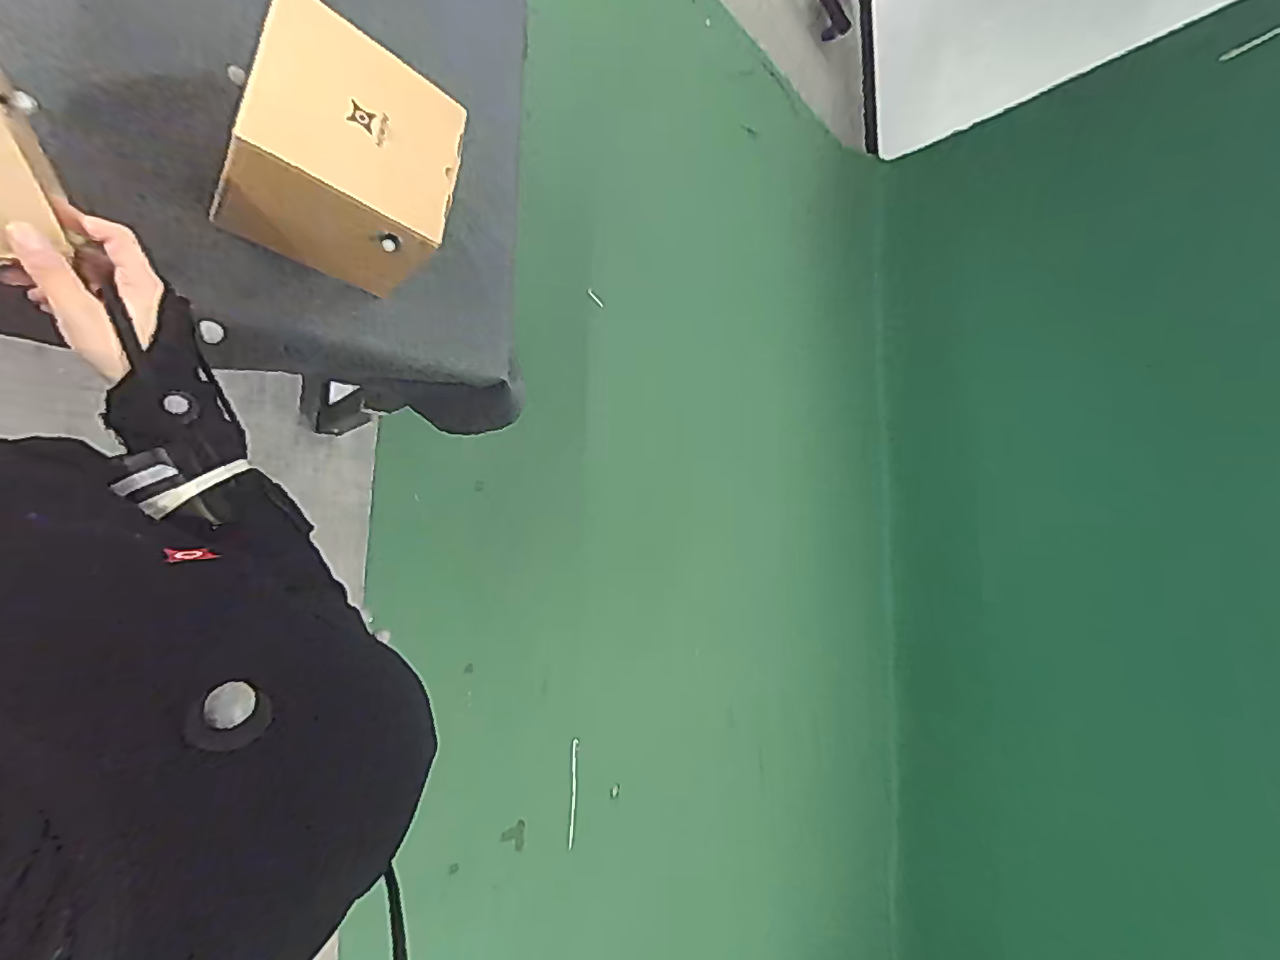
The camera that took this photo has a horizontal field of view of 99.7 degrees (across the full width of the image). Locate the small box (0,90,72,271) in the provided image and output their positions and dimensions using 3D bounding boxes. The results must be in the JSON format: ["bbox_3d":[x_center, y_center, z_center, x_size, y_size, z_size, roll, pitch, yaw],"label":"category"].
[{"bbox_3d":[-0.466,-0.207,0.297,0.168,0.176,0.179,-27,127,-33],"label":"small box"}]

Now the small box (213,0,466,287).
[{"bbox_3d":[-0.310,-0.327,0.559,0.179,0.176,0.168,17,74,-43],"label":"small box"}]
